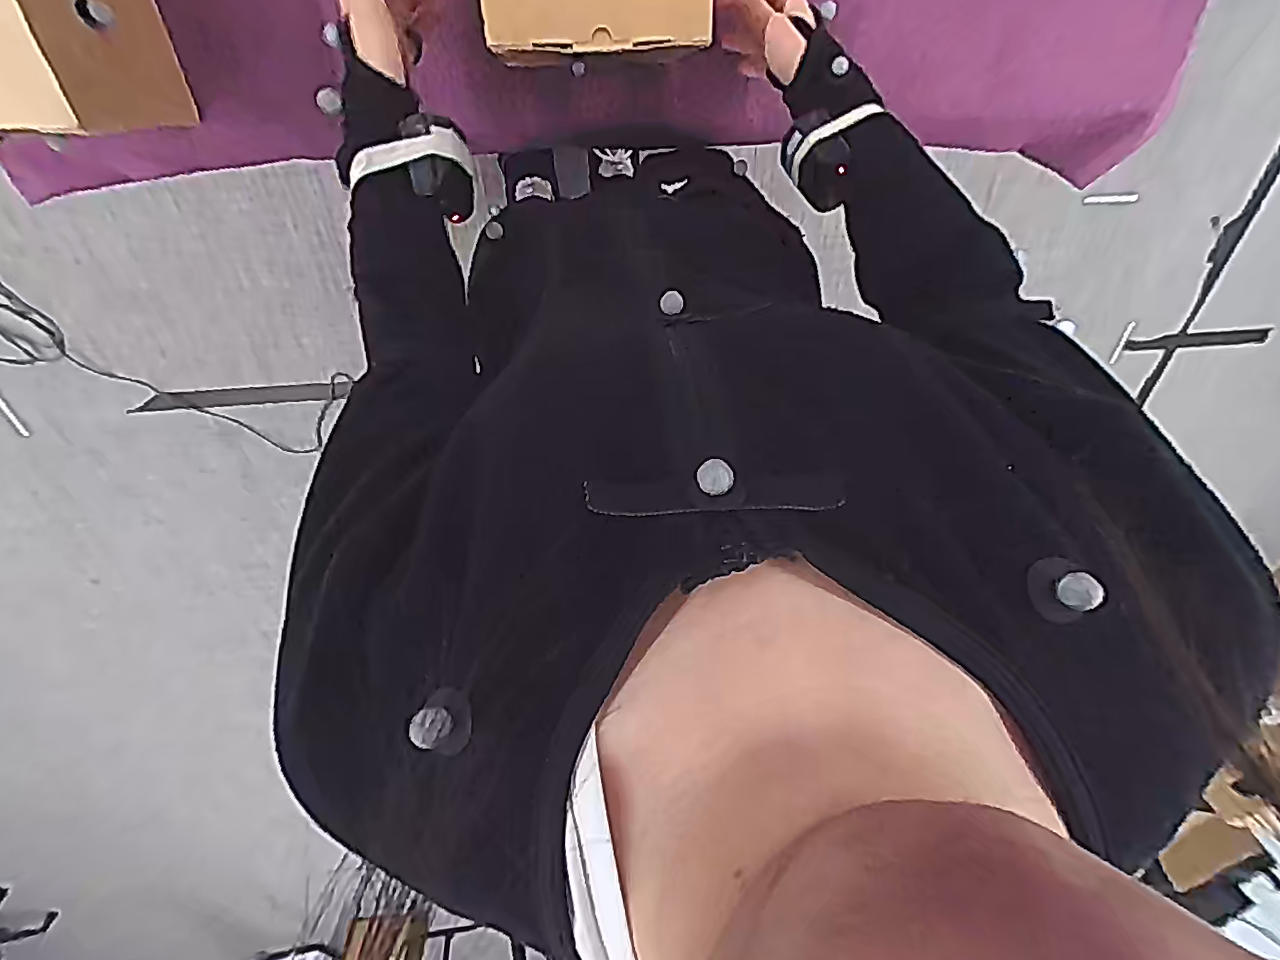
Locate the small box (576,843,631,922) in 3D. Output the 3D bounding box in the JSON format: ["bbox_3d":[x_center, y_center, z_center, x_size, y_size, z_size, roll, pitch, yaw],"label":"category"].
[{"bbox_3d":[-0.131,1.388,1.870,0.179,0.176,0.168,-3,126,-8],"label":"small box"}]

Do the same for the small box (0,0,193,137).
[{"bbox_3d":[-0.483,-0.360,0.392,0.168,0.176,0.179,-5,127,-7],"label":"small box"}]

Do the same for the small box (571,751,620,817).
[{"bbox_3d":[-0.178,1.194,2.132,0.179,0.176,0.168,-5,125,-5],"label":"small box"}]
